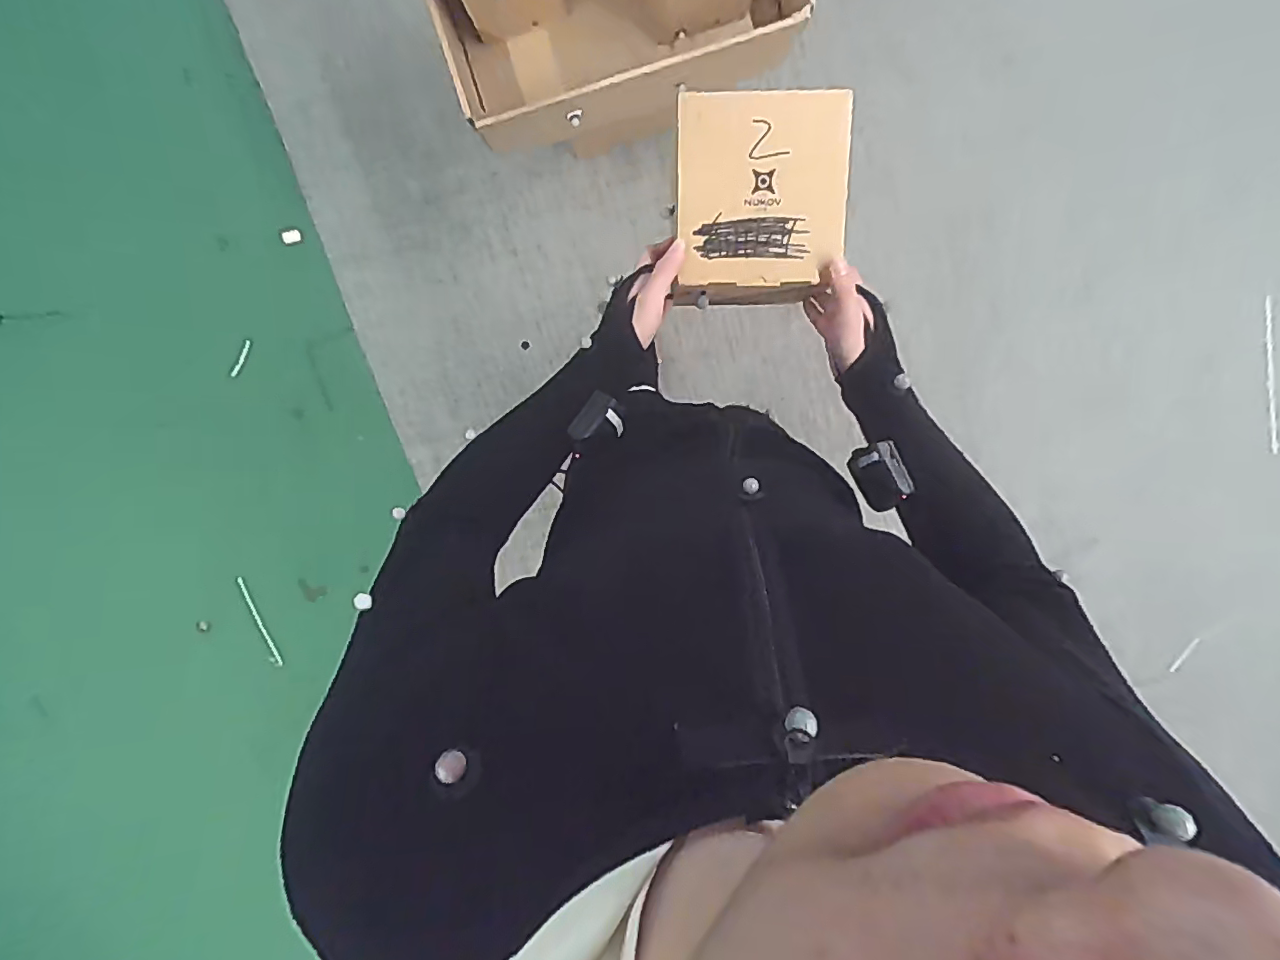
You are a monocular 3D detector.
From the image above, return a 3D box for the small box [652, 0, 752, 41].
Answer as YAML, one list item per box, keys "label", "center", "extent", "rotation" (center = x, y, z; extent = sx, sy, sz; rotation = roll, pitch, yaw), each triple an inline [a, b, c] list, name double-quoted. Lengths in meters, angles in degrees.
- label: "small box"
  center: [0.101, -0.894, 0.917]
  extent: [0.168, 0.176, 0.179]
  rotation: [-17, 101, 3]

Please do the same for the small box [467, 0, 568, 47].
- label: "small box"
  center: [-0.228, -0.892, 0.914]
  extent: [0.168, 0.176, 0.179]
  rotation: [-15, 102, 2]
